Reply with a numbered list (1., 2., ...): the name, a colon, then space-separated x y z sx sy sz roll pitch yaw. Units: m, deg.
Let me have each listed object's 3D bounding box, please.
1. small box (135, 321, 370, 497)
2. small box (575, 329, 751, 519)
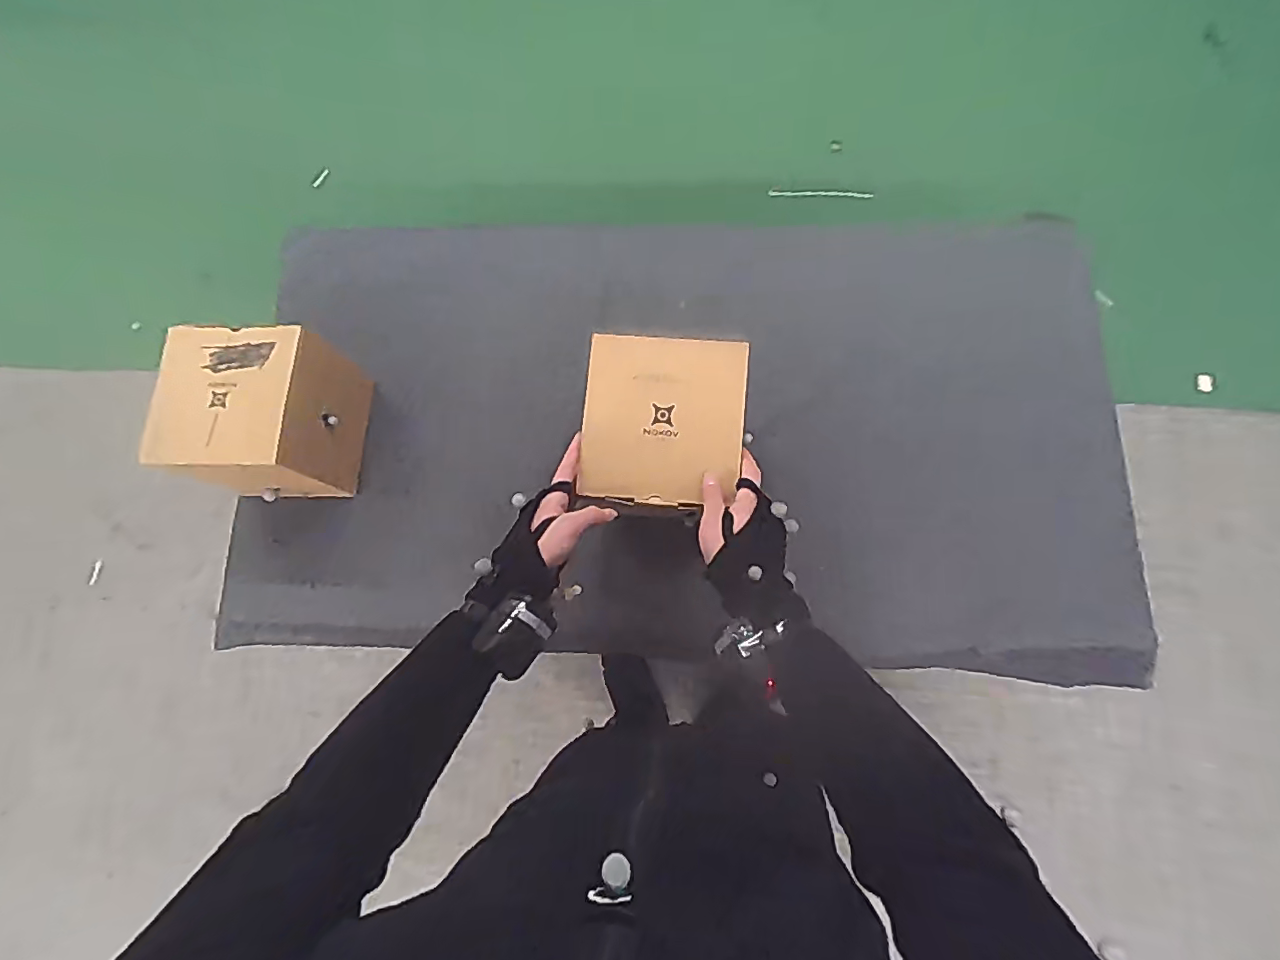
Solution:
1. small box: -0.476 -0.083 0.697 0.168 0.176 0.179 1 76 3
2. small box: 0.029 -0.052 0.620 0.168 0.176 0.179 4 80 4
